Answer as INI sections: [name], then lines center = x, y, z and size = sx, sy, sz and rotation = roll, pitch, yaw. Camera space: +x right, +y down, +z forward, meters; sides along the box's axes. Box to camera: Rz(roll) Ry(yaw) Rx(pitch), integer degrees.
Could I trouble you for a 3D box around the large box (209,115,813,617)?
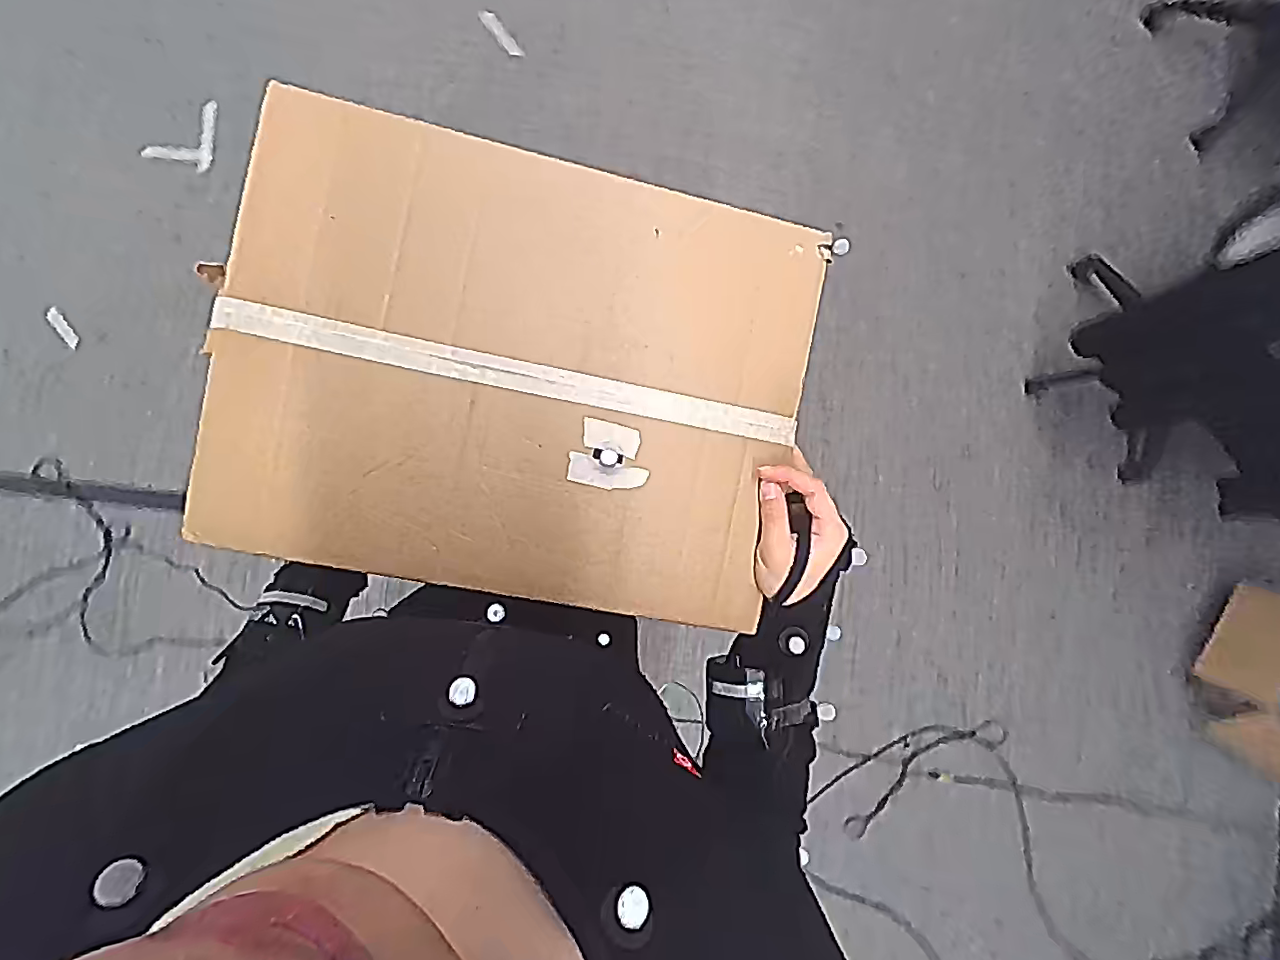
[large box]
center = -0.102, -0.074, 0.543
size = 0.408, 0.320, 0.320
rotation = 10, 91, -9
